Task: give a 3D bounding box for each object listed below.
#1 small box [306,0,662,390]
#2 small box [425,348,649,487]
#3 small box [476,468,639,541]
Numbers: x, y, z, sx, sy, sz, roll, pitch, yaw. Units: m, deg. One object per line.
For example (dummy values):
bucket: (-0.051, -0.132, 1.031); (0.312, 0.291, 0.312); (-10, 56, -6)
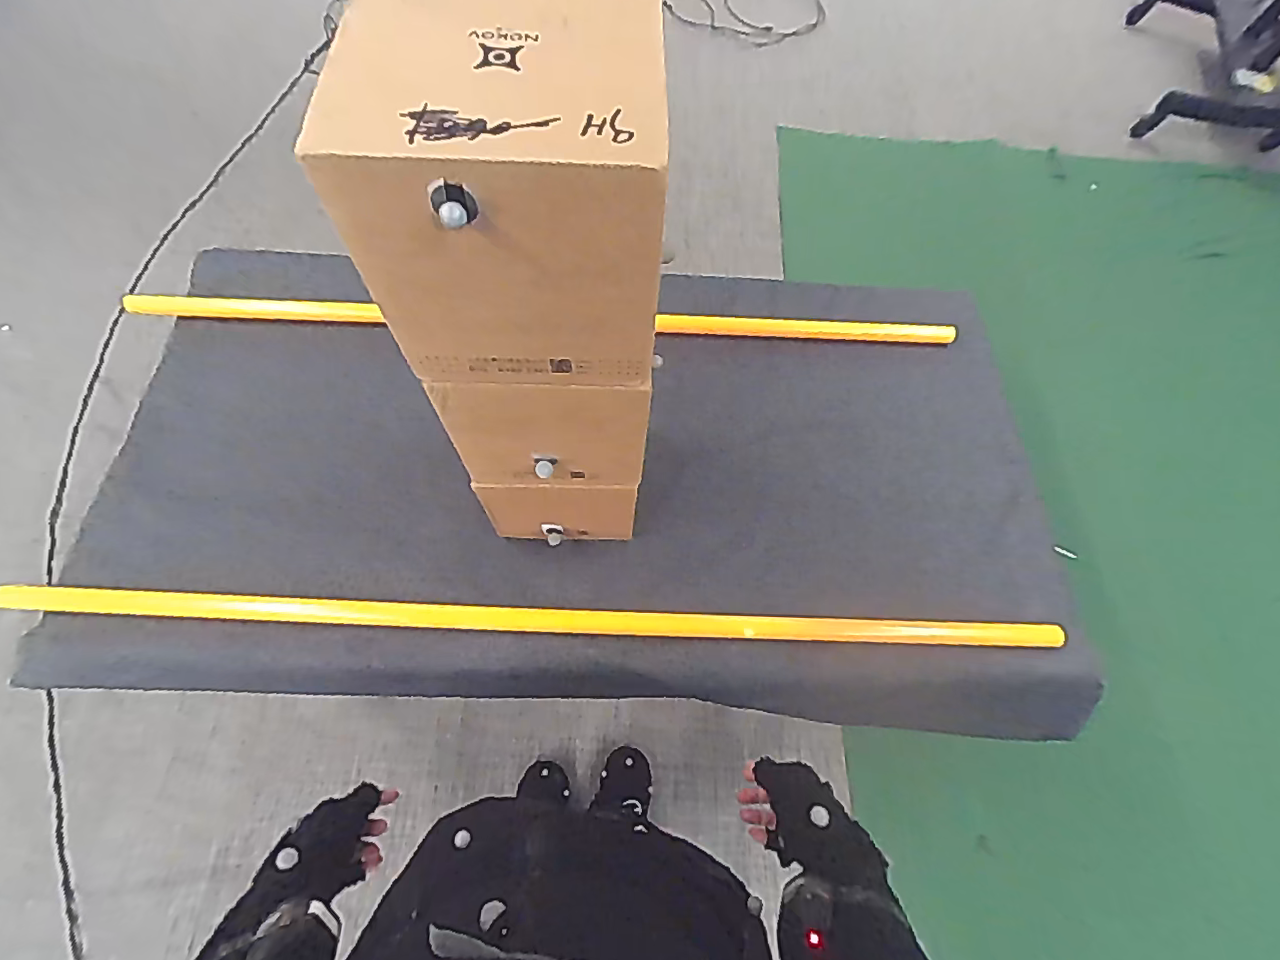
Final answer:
small box: (-0.075, -0.181, 0.356); (0.168, 0.176, 0.179); (0, 64, -2)
small box: (-0.079, -0.108, 0.503); (0.168, 0.176, 0.179); (1, 65, -2)
small box: (-0.088, -0.036, 0.650); (0.168, 0.176, 0.179); (-1, 66, -3)
